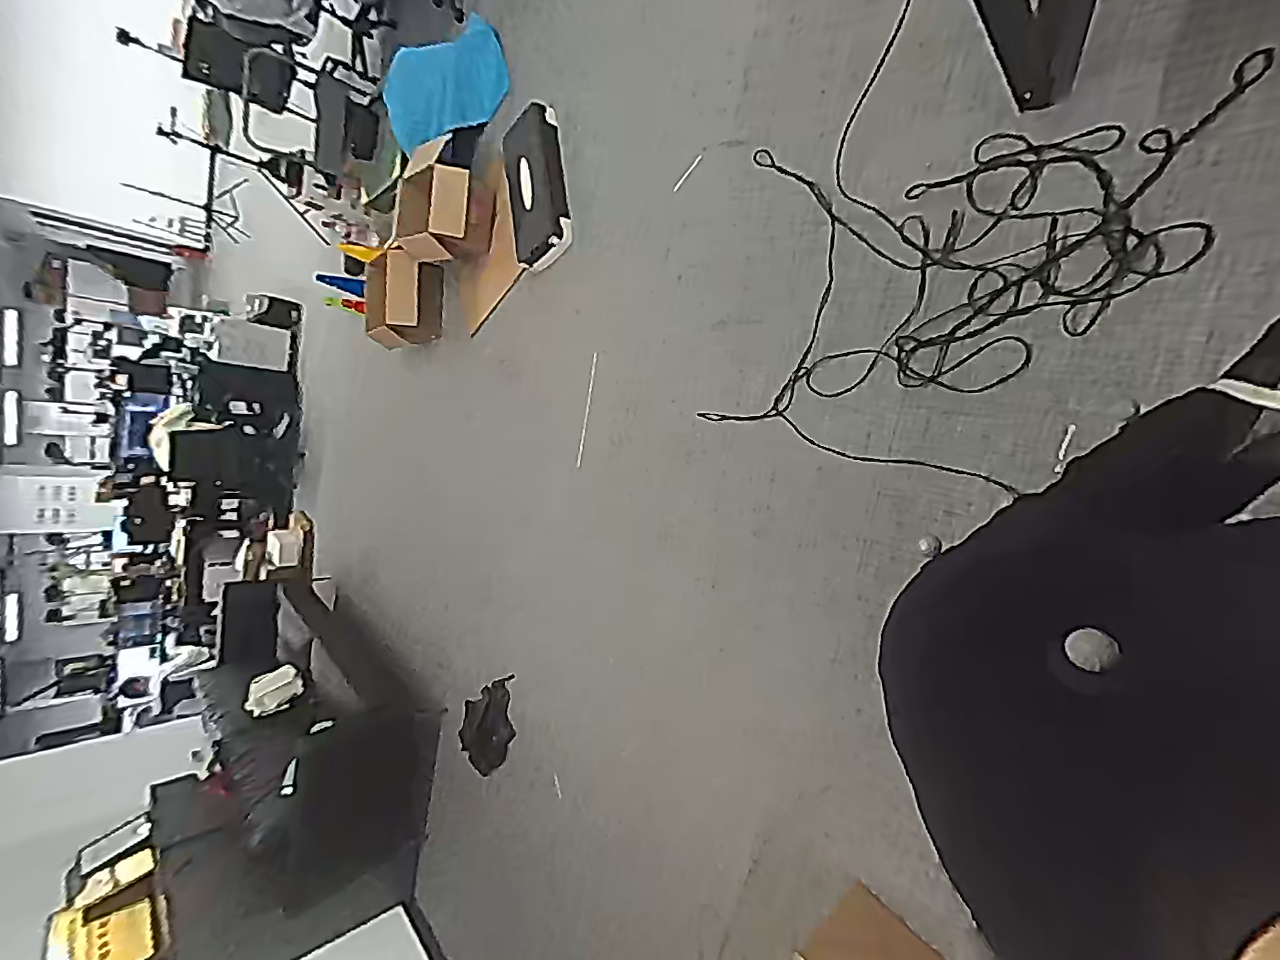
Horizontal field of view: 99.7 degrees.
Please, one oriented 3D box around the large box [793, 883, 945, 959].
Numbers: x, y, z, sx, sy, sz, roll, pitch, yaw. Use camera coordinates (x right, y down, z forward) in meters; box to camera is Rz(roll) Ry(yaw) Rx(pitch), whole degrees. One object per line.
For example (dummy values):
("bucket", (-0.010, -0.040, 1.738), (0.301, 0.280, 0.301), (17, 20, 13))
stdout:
("large box", (0.546, 1.228, 1.179), (0.408, 0.320, 0.320), (29, 108, 43))
